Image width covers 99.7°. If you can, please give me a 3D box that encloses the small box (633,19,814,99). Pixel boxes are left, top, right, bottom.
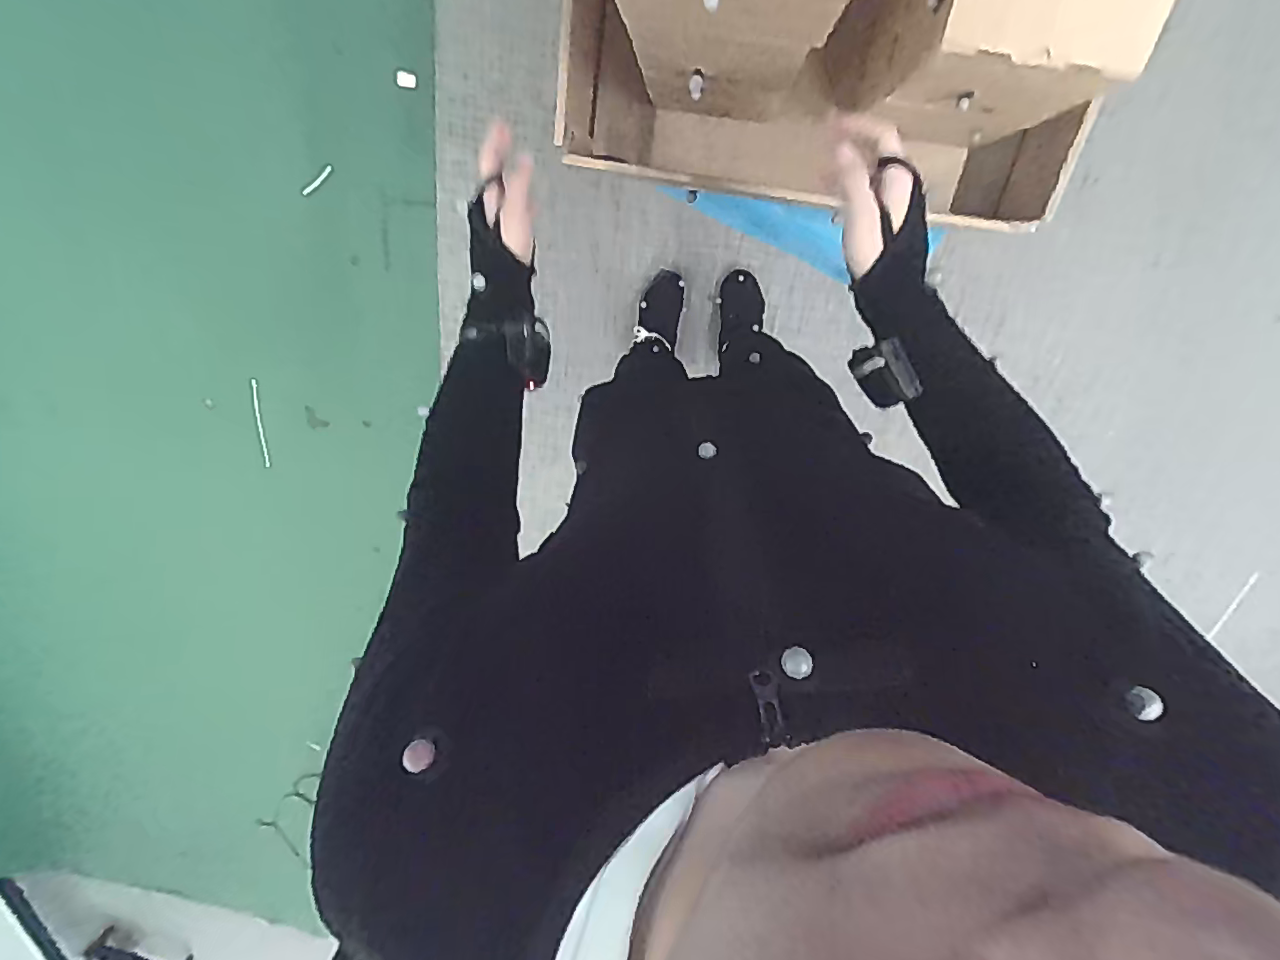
[{"bbox_3d":[0.090,-0.492,0.506,0.168,0.176,0.179,11,114,2],"label":"small box"}]

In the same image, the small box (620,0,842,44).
[{"bbox_3d":[0.073,-0.423,0.358,0.179,0.176,0.168,11,113,4],"label":"small box"}]

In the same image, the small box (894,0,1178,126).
[{"bbox_3d":[0.354,-0.448,0.485,0.168,0.176,0.179,12,114,3],"label":"small box"}]
